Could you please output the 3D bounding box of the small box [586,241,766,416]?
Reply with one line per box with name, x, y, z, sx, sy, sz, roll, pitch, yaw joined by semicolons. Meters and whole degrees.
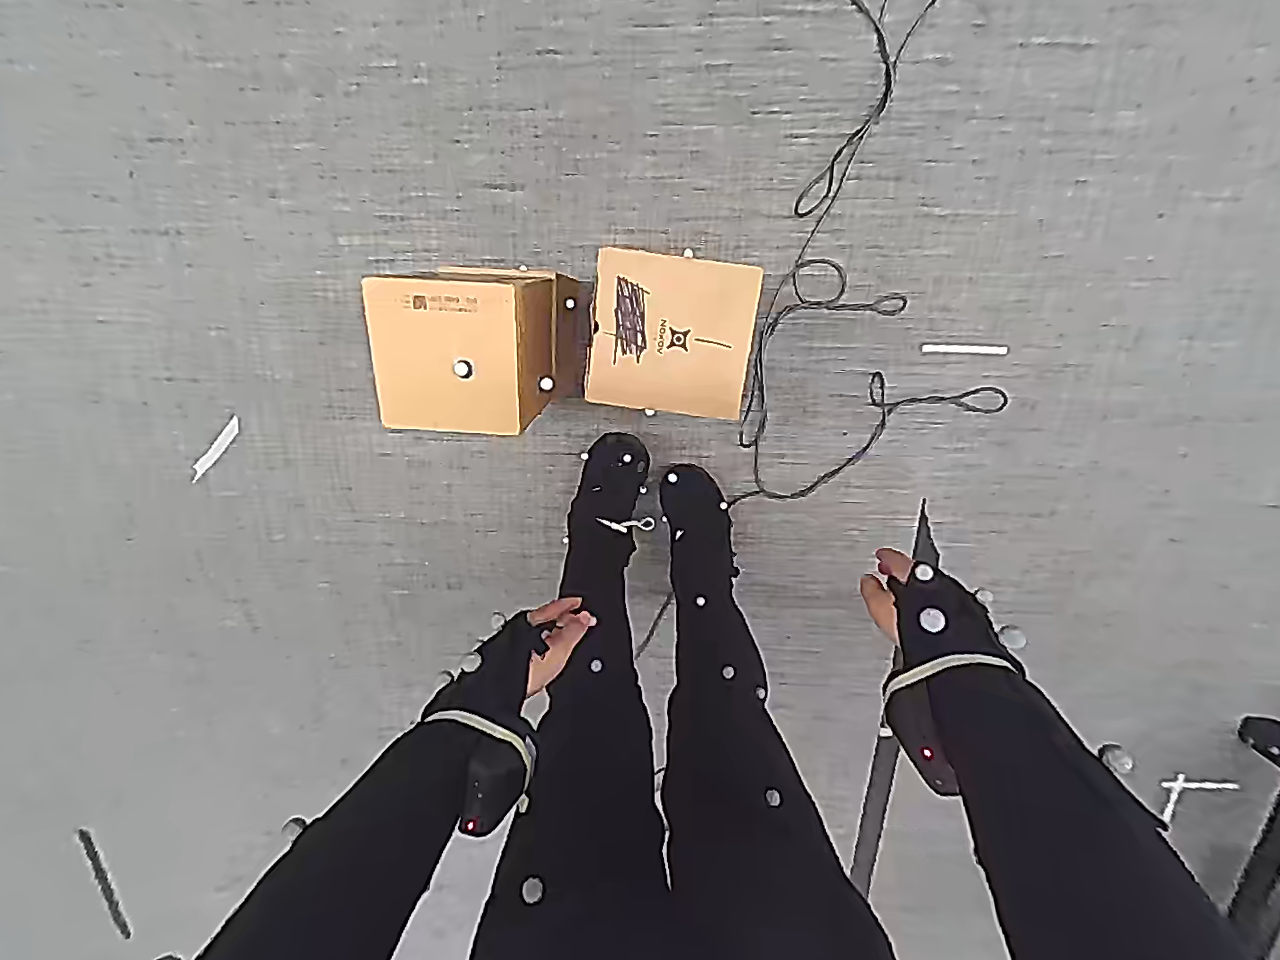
small box;0.038;-0.181;0.659;0.179;0.176;0.168;7;107;0
